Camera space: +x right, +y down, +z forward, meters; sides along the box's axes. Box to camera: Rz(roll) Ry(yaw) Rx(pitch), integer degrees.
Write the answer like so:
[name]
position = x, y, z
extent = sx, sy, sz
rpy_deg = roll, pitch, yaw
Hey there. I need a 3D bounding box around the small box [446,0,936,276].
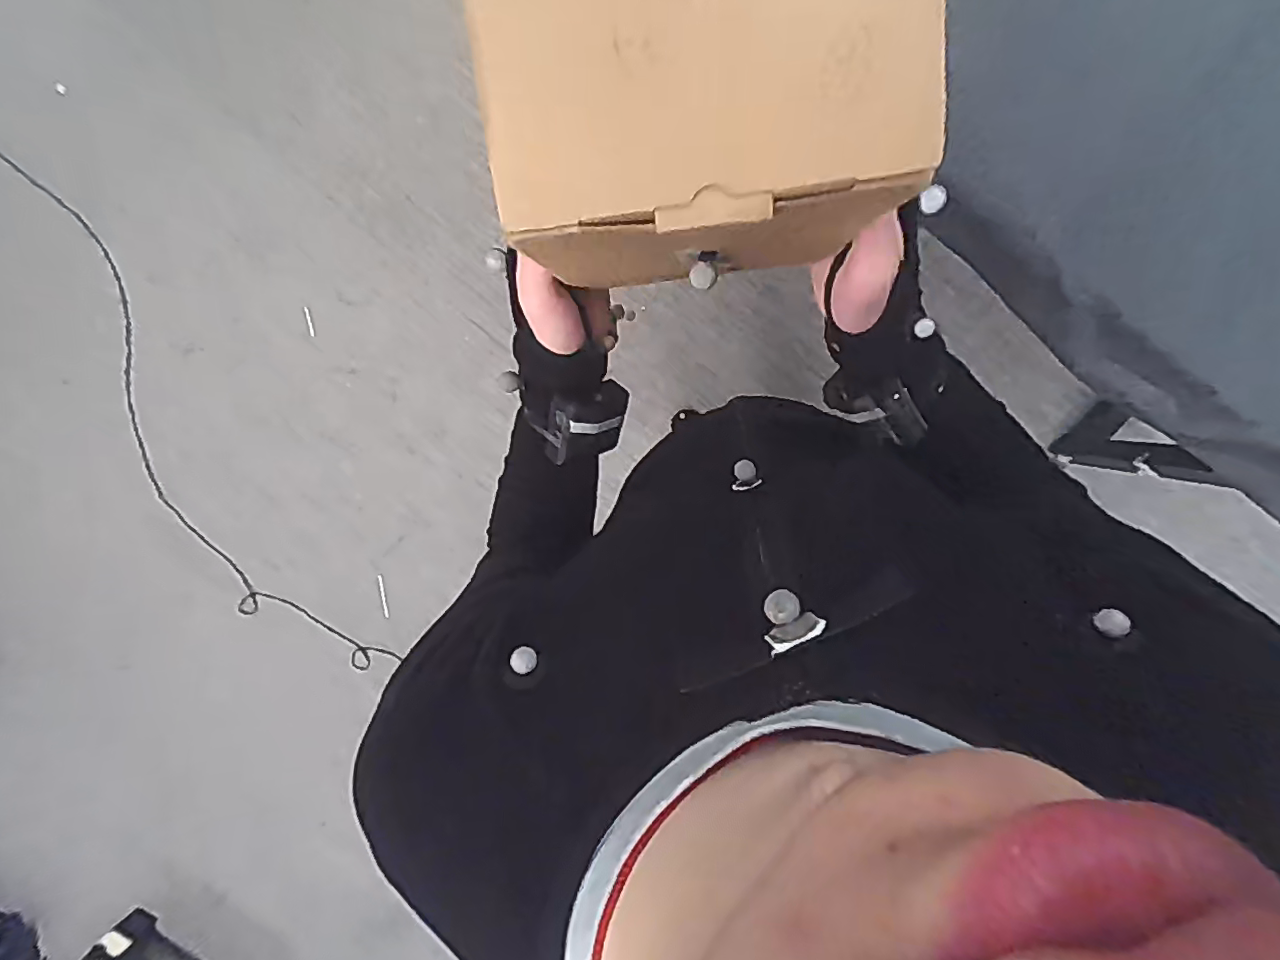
[small box]
position = 0.018, -0.199, 0.254
extent = 0.168, 0.176, 0.179
rpy_deg = -5, 104, 4
